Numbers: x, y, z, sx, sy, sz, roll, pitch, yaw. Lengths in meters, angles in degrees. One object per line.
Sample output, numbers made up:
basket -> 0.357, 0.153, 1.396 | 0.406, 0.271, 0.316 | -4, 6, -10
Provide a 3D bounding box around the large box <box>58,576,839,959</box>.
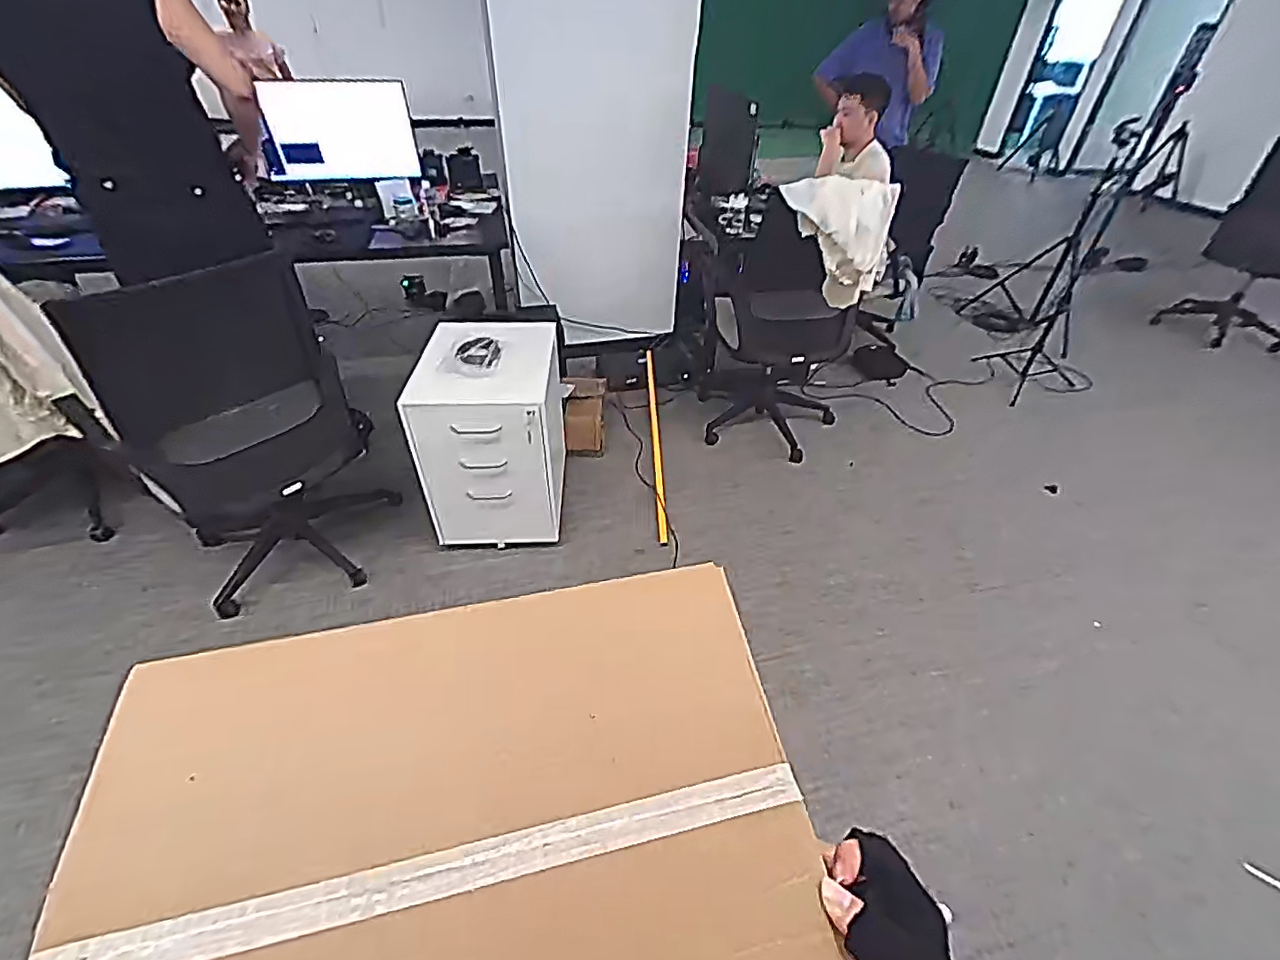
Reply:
large box -> -0.109, 0.314, 0.425 | 0.408, 0.320, 0.320 | -9, 52, -9
